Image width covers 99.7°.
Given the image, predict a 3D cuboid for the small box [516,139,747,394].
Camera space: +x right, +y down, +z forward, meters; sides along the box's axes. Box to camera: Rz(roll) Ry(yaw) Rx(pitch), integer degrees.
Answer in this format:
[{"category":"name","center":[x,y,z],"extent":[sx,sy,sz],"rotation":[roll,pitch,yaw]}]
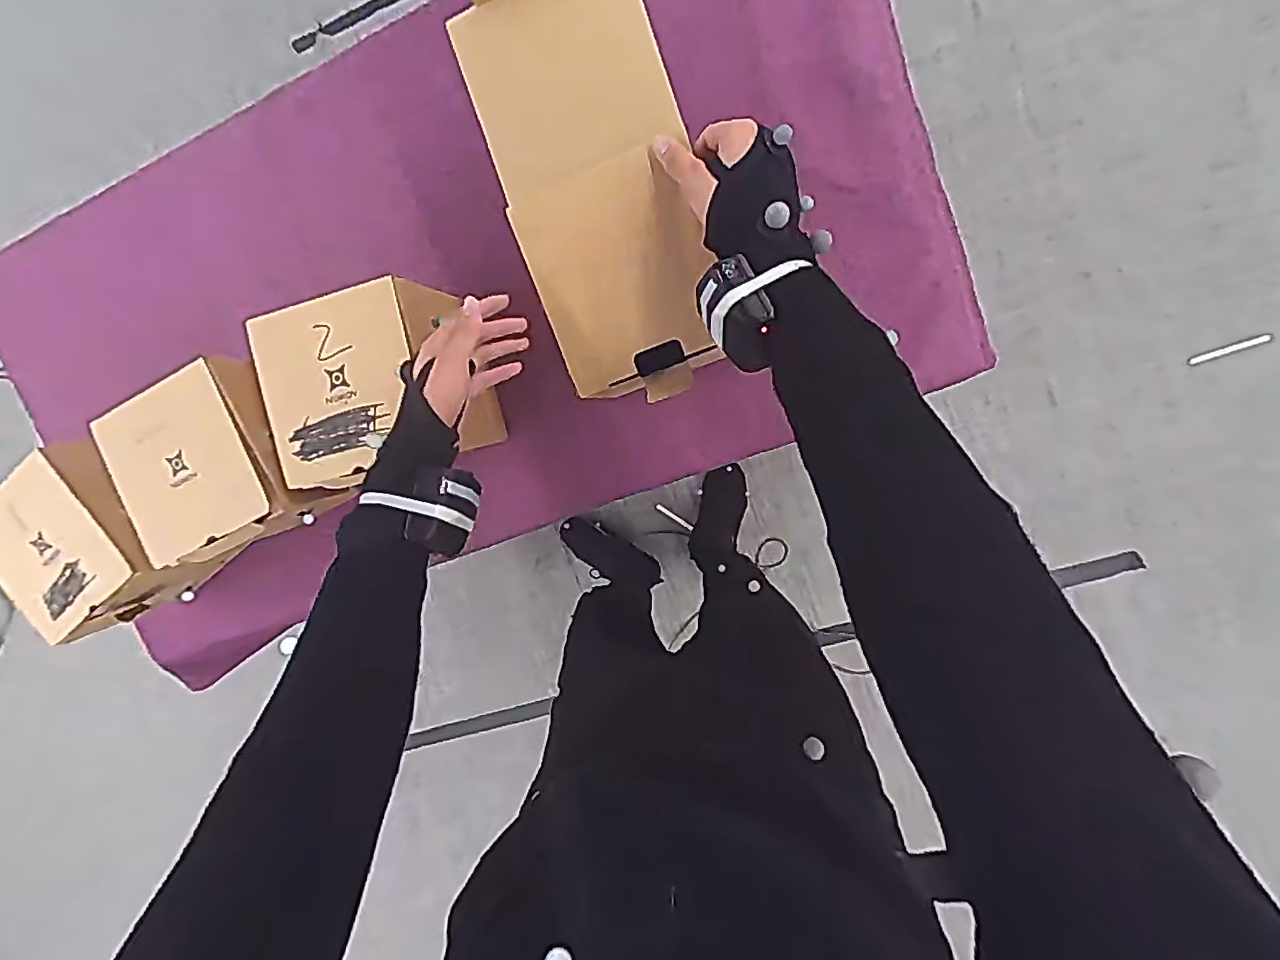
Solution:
[{"category":"small box","center":[0.002,-0.192,0.549],"extent":[0.168,0.176,0.179],"rotation":[-17,96,12]}]
